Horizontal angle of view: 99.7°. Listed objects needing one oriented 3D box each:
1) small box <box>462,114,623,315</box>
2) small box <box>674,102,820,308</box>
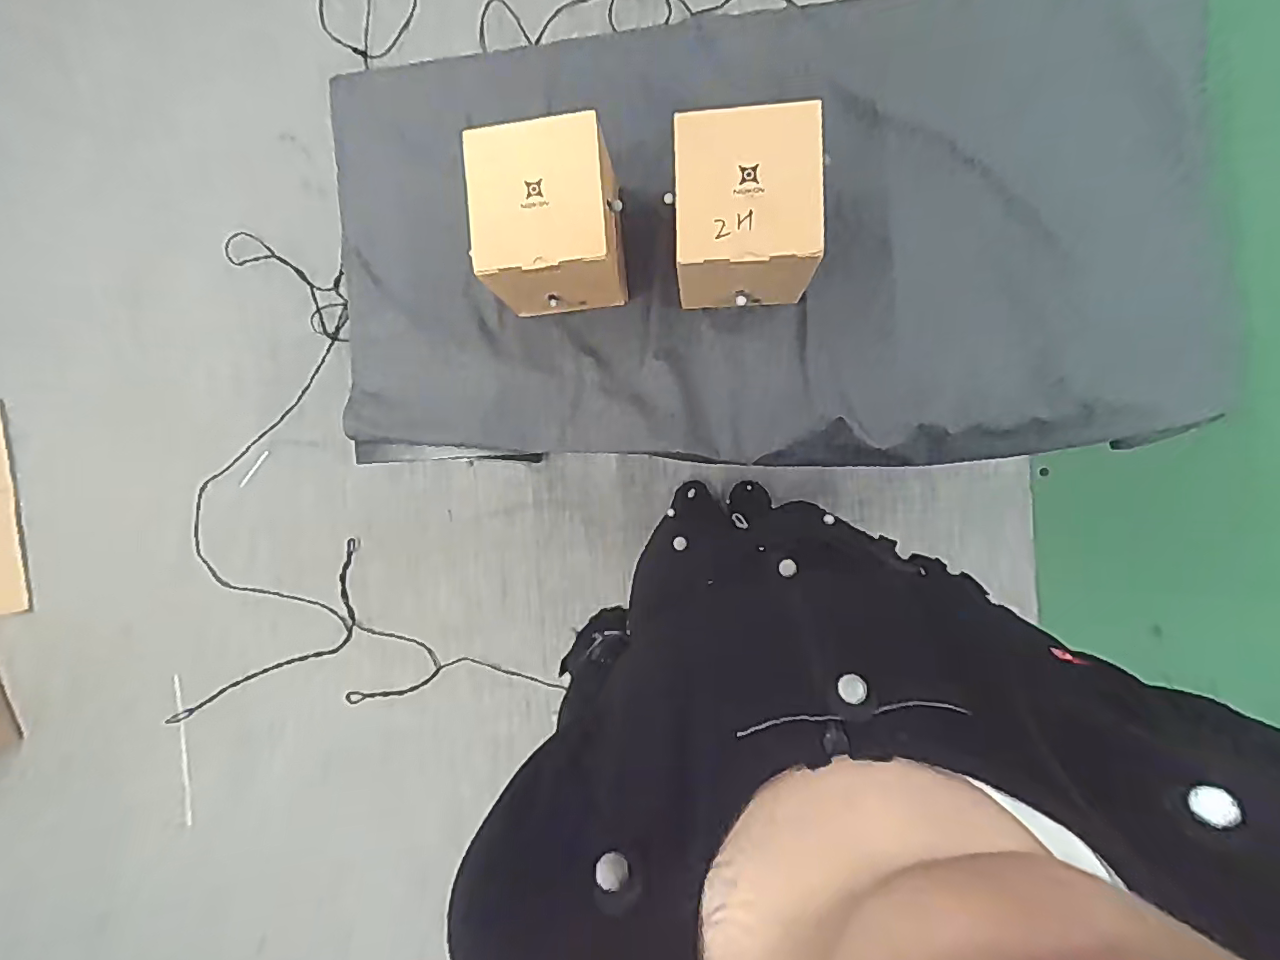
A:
[{"bbox_3d":[-0.119,-0.337,0.718,0.168,0.176,0.179,-5,90,6],"label":"small box"},{"bbox_3d":[0.127,-0.334,0.689,0.168,0.176,0.179,-1,90,7],"label":"small box"}]
